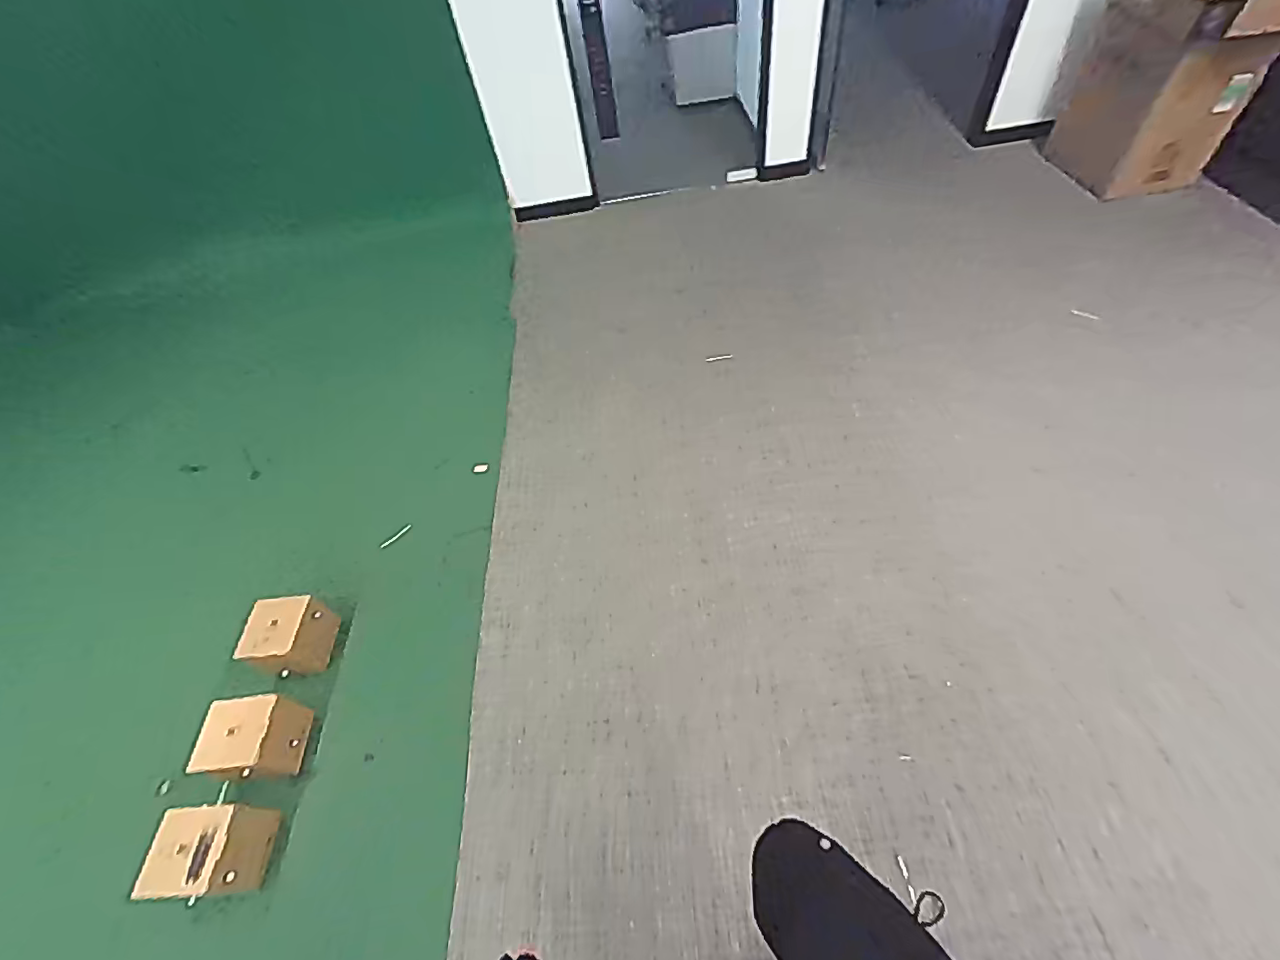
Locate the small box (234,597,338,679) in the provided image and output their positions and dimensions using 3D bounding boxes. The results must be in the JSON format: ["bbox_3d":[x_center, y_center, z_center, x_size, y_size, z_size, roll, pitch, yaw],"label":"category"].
[{"bbox_3d":[-1.015,0.460,1.571,0.168,0.176,0.179,-6,51,4],"label":"small box"}]

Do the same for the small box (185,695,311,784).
[{"bbox_3d":[-1.004,0.676,1.402,0.179,0.176,0.168,-7,51,2],"label":"small box"}]
